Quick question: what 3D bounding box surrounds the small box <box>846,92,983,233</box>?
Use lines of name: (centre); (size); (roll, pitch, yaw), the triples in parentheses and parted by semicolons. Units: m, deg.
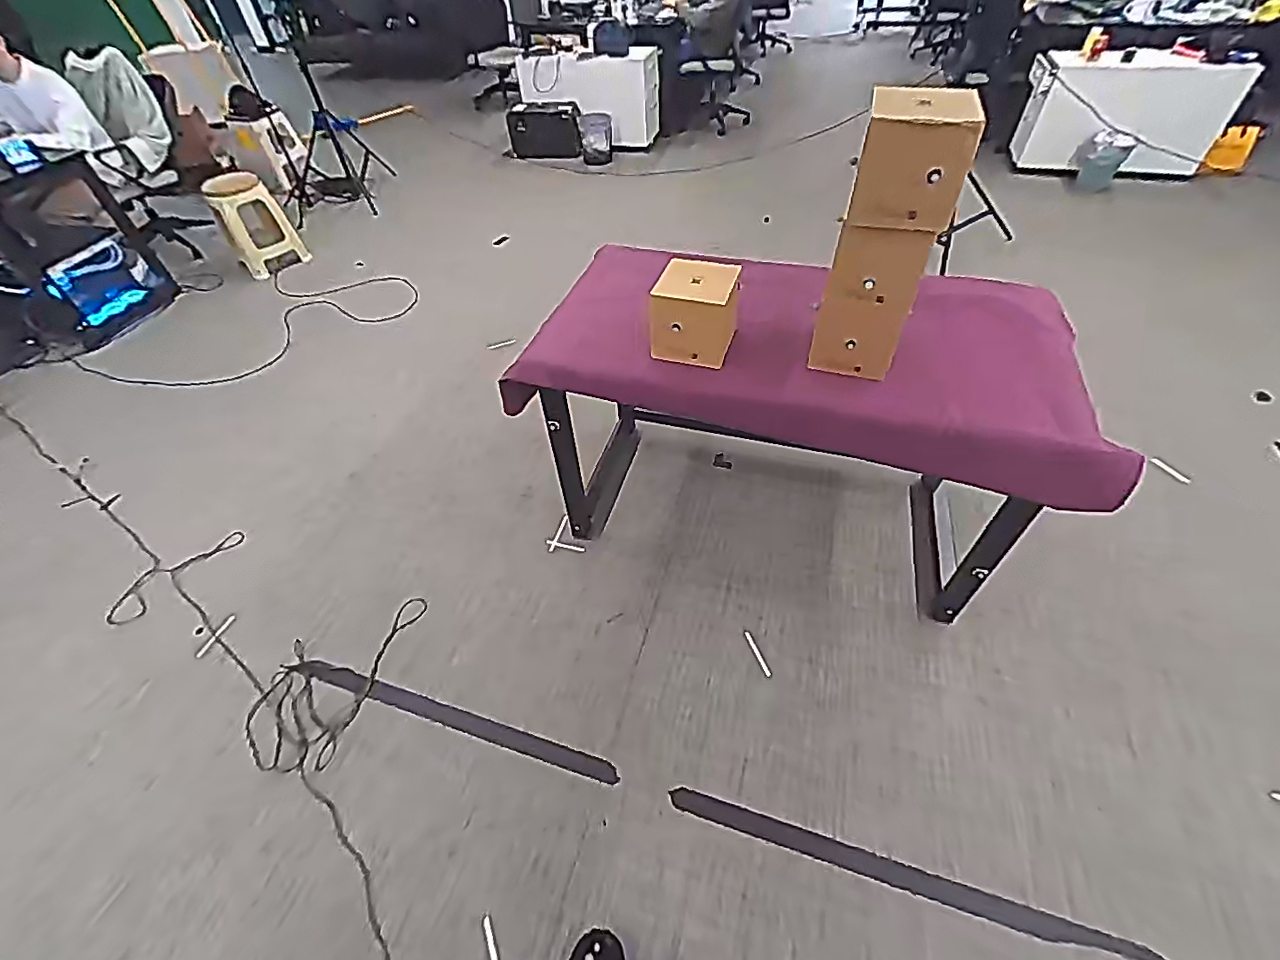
small box: (0.461, -0.547, 0.933); (0.168, 0.176, 0.179); (11, 49, 12)

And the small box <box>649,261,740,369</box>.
small box: (0.126, -0.377, 1.240); (0.168, 0.176, 0.179); (12, 49, 14)

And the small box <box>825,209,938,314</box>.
small box: (0.474, -0.455, 1.068); (0.168, 0.176, 0.179); (13, 51, 15)

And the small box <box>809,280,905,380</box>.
small box: (0.477, -0.343, 1.189); (0.168, 0.176, 0.179); (14, 50, 15)
